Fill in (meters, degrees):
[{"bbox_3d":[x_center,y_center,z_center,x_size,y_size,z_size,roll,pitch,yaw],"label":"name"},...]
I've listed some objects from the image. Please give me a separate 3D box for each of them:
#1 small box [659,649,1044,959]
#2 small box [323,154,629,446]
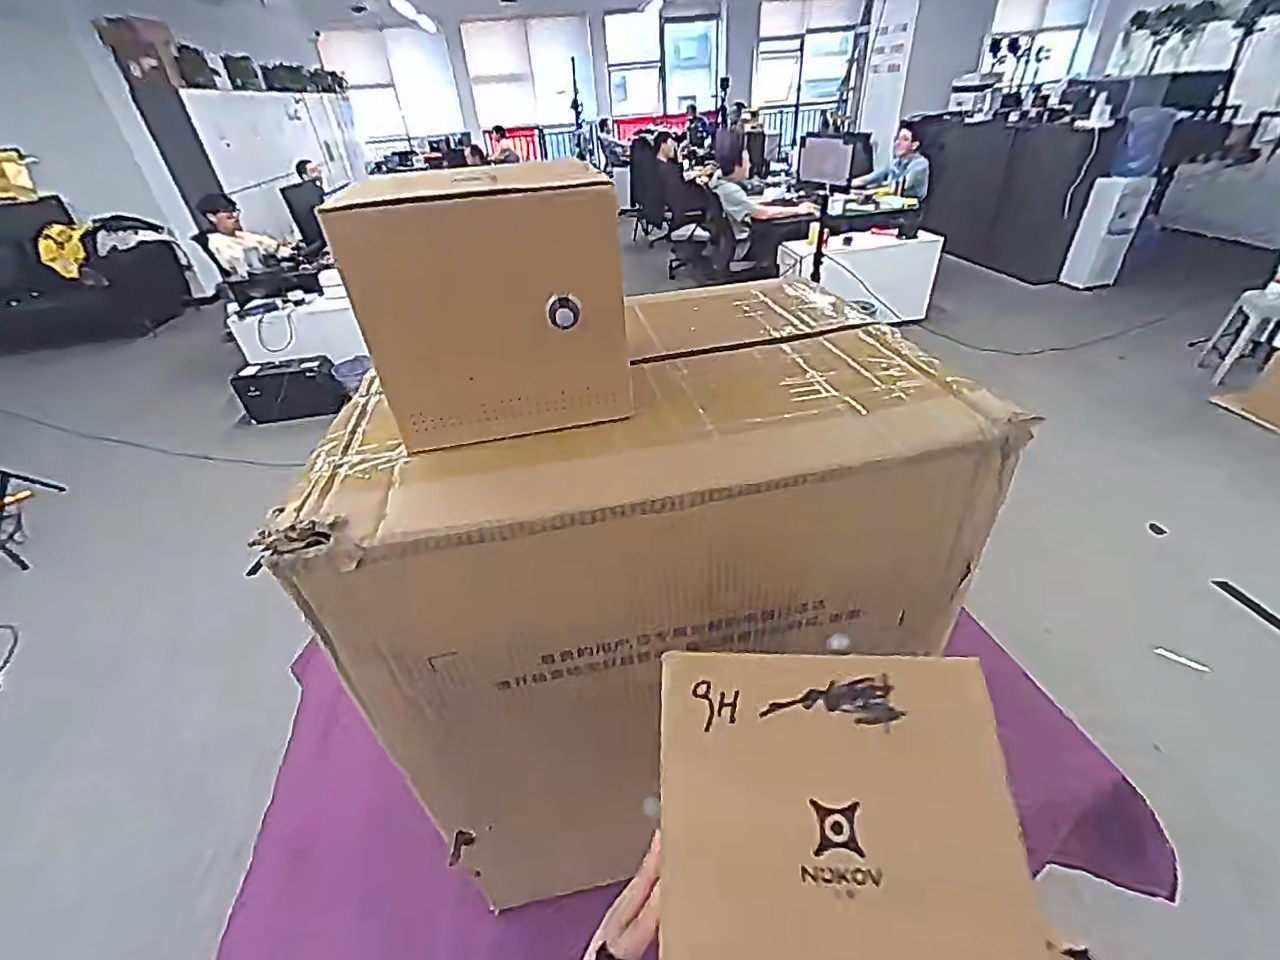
[{"bbox_3d":[0.099,0.205,0.326,0.168,0.176,0.179,-1,64,5],"label":"small box"},{"bbox_3d":[-0.109,-0.147,0.427,0.179,0.176,0.168,-12,35,-9],"label":"small box"}]
